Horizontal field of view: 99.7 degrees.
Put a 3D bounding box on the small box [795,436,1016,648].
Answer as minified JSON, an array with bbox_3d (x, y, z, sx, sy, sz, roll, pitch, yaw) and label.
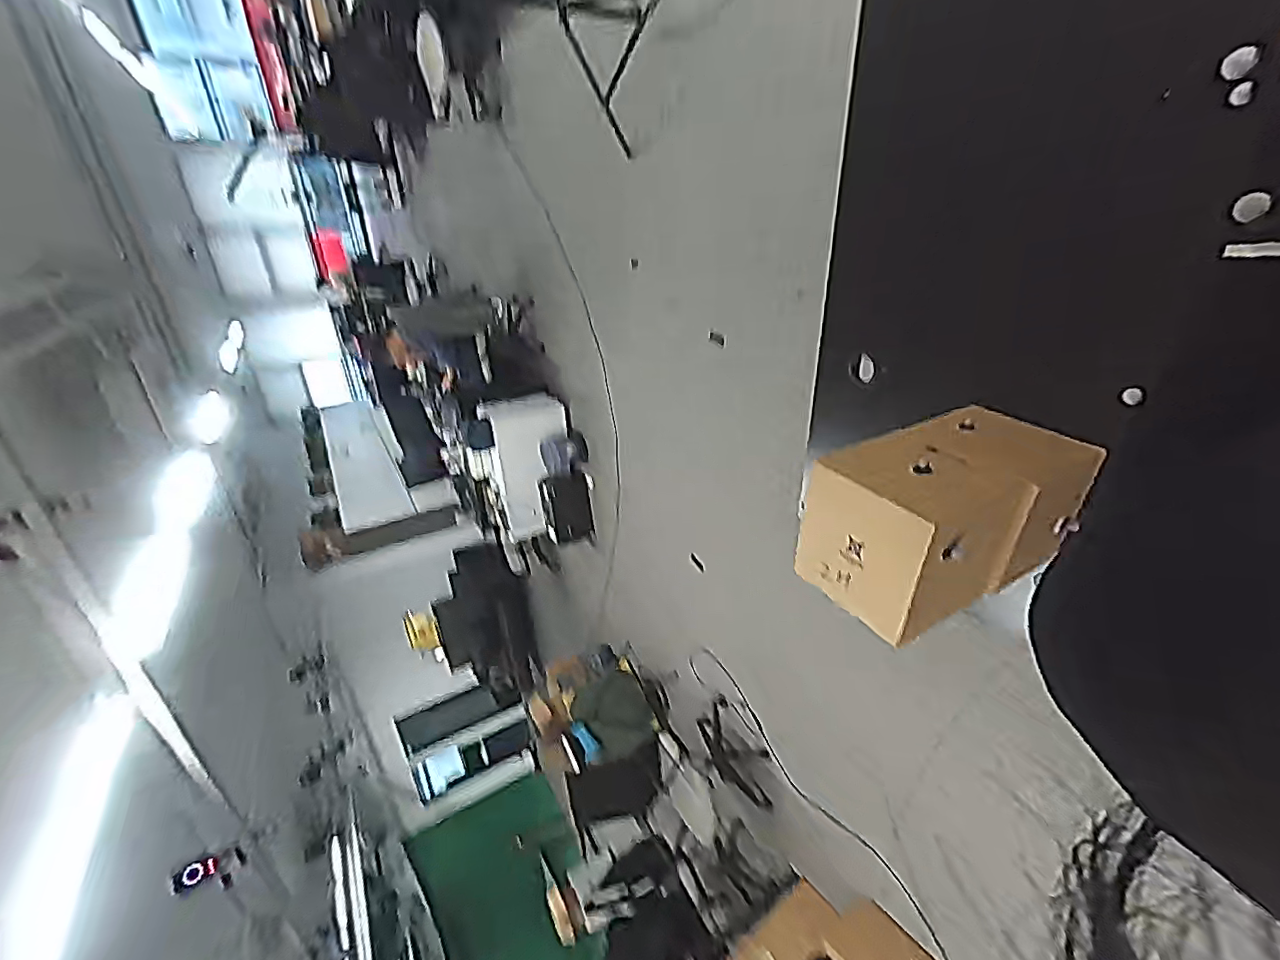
[{"bbox_3d":[0.322,0.063,0.670,0.168,0.176,0.179,40,140,49],"label":"small box"}]

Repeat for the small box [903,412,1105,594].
[{"bbox_3d":[0.467,0.018,0.735,0.179,0.176,0.168,39,139,48],"label":"small box"}]
